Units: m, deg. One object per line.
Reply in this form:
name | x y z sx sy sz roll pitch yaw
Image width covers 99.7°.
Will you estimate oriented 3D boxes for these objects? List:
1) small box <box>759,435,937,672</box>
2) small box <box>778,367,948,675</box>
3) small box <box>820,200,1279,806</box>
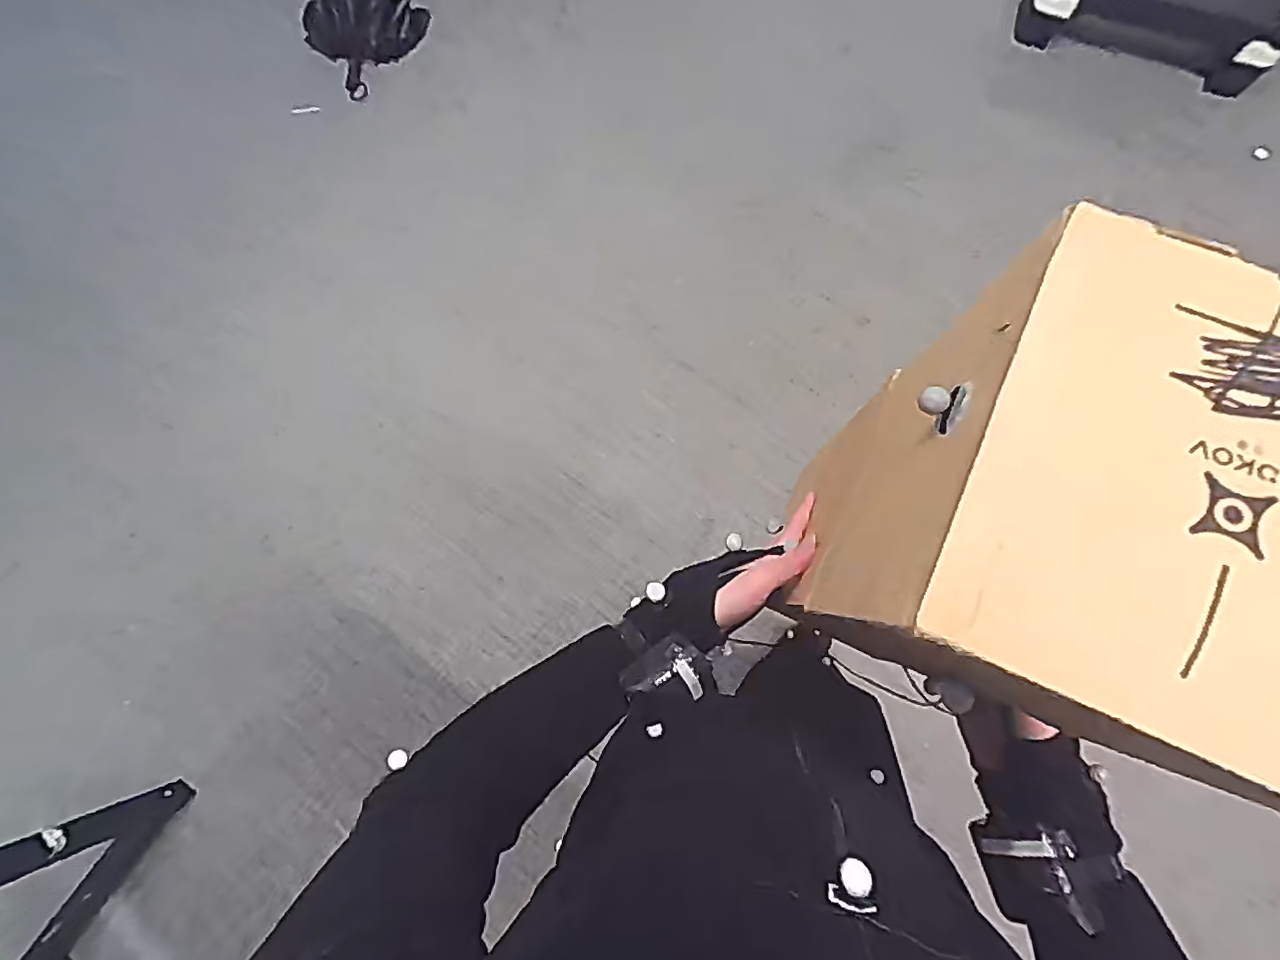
small box | 0.236 0.078 0.577 0.168 0.176 0.179 23 81 10
small box | 0.218 0.046 0.418 0.168 0.176 0.179 21 80 9
small box | 0.205 0.018 0.257 0.168 0.176 0.179 23 82 9
